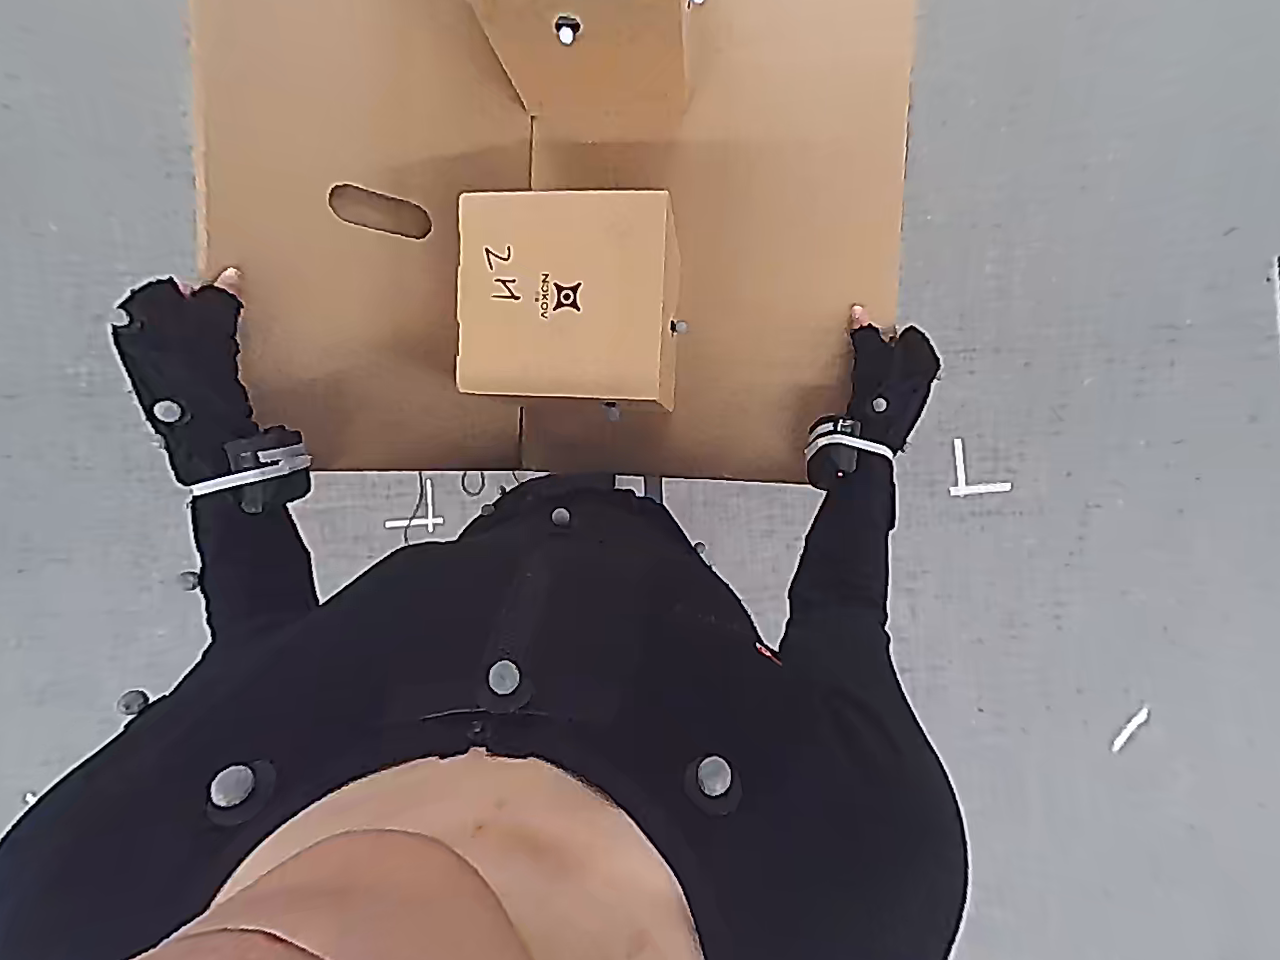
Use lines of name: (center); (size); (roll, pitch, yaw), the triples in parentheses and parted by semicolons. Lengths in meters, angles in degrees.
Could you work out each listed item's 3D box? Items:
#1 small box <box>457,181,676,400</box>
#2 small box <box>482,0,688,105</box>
small box: (-0.058, -0.170, 0.530); (0.179, 0.176, 0.168); (4, 94, 8)
small box: (-0.047, -0.487, 0.508); (0.179, 0.176, 0.168); (2, 94, 7)
